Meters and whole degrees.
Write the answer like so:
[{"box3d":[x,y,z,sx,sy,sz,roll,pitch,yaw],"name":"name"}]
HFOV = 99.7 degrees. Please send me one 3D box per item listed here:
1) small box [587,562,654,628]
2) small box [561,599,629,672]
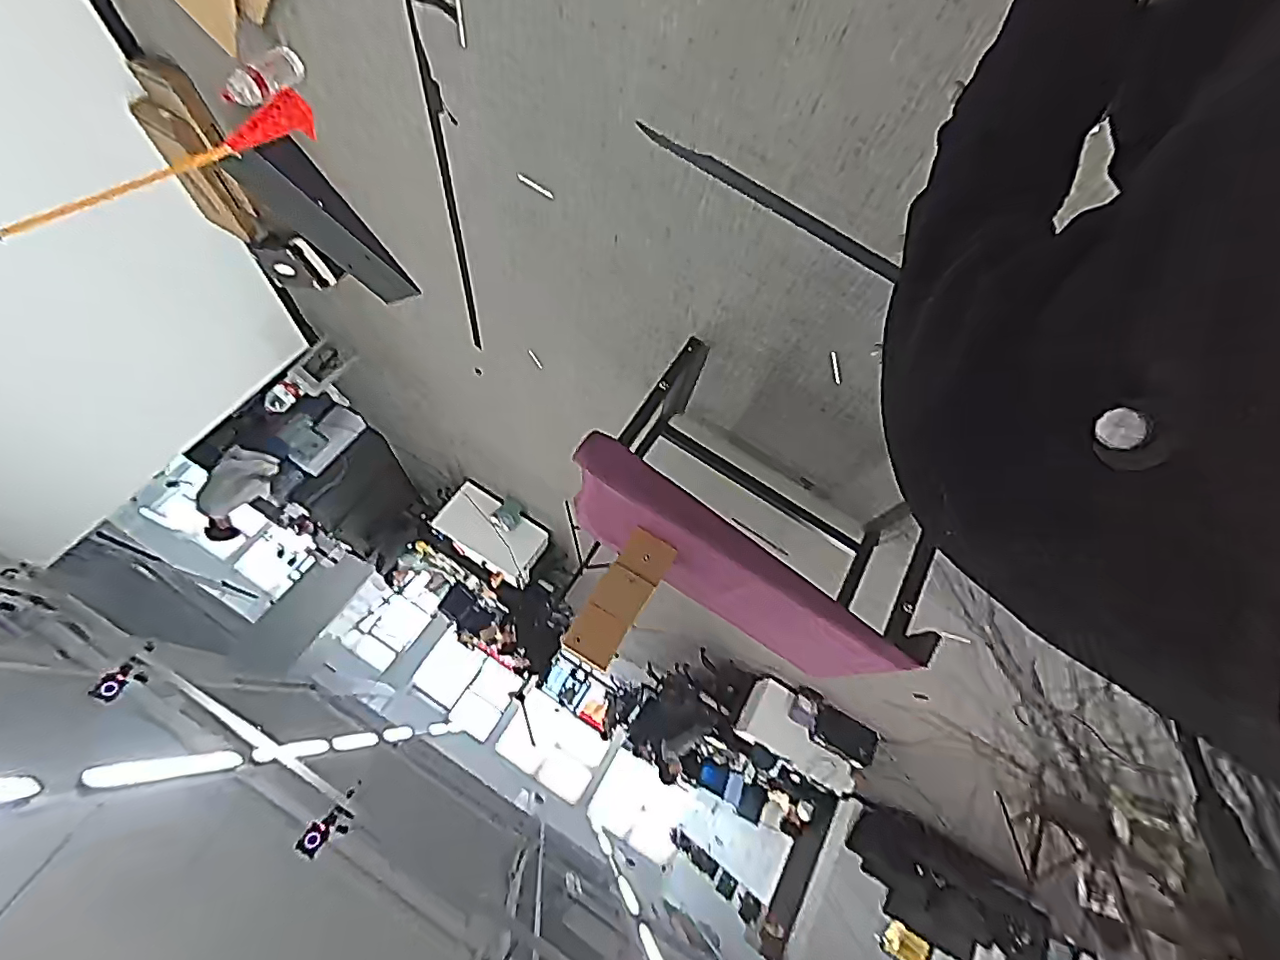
[{"box3d":[-0.072,0.412,1.934,0.179,0.176,0.168,30,156,9],"name":"small box"},{"box3d":[-0.155,0.539,1.875,0.179,0.176,0.168,30,156,8],"name":"small box"}]
